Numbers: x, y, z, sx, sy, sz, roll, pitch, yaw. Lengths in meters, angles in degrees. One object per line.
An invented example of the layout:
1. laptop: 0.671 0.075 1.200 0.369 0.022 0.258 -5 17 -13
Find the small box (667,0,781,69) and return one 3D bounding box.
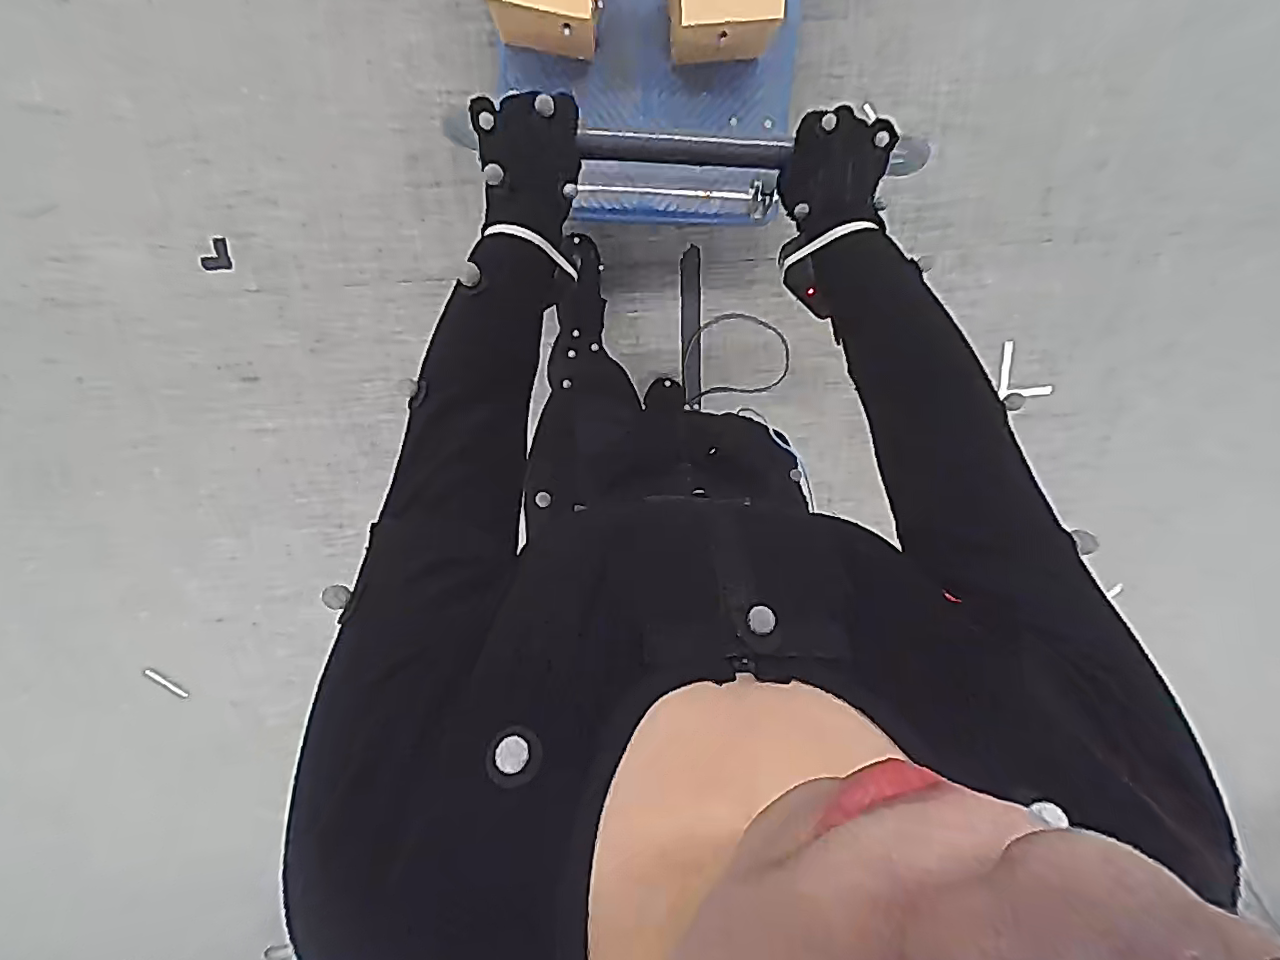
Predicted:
1. small box: 0.139 -0.851 0.948 0.179 0.176 0.168 -5 110 -2

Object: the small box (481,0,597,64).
1. small box: -0.165 -0.853 0.928 0.179 0.176 0.168 6 108 -7
